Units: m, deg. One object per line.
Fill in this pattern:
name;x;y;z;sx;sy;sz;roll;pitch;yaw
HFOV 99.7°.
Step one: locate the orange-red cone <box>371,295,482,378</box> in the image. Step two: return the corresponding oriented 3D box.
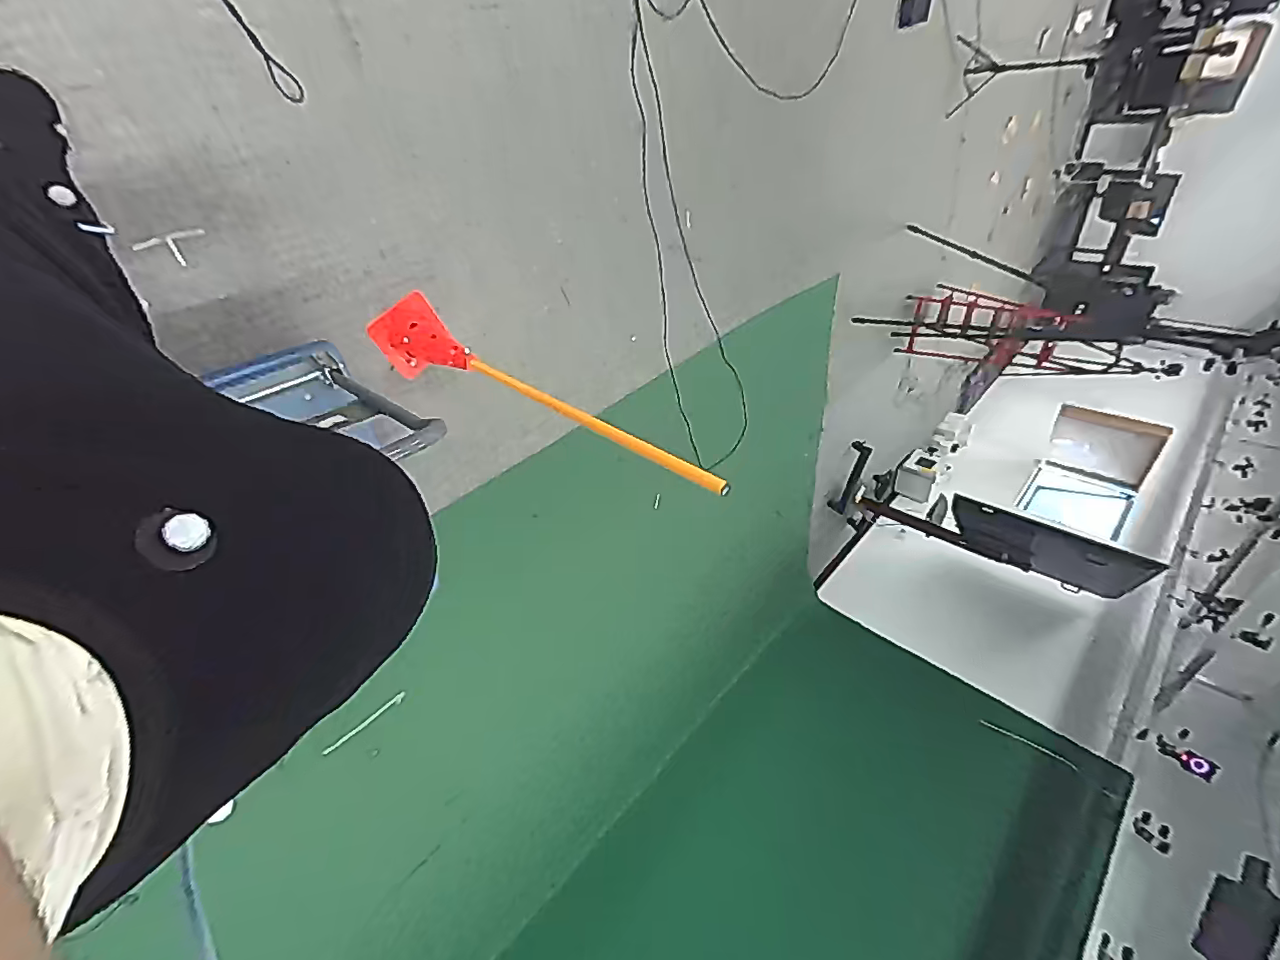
orange-red cone;-0.557;-0.368;1.521;0.199;0.360;0.198;-48;141;-20
